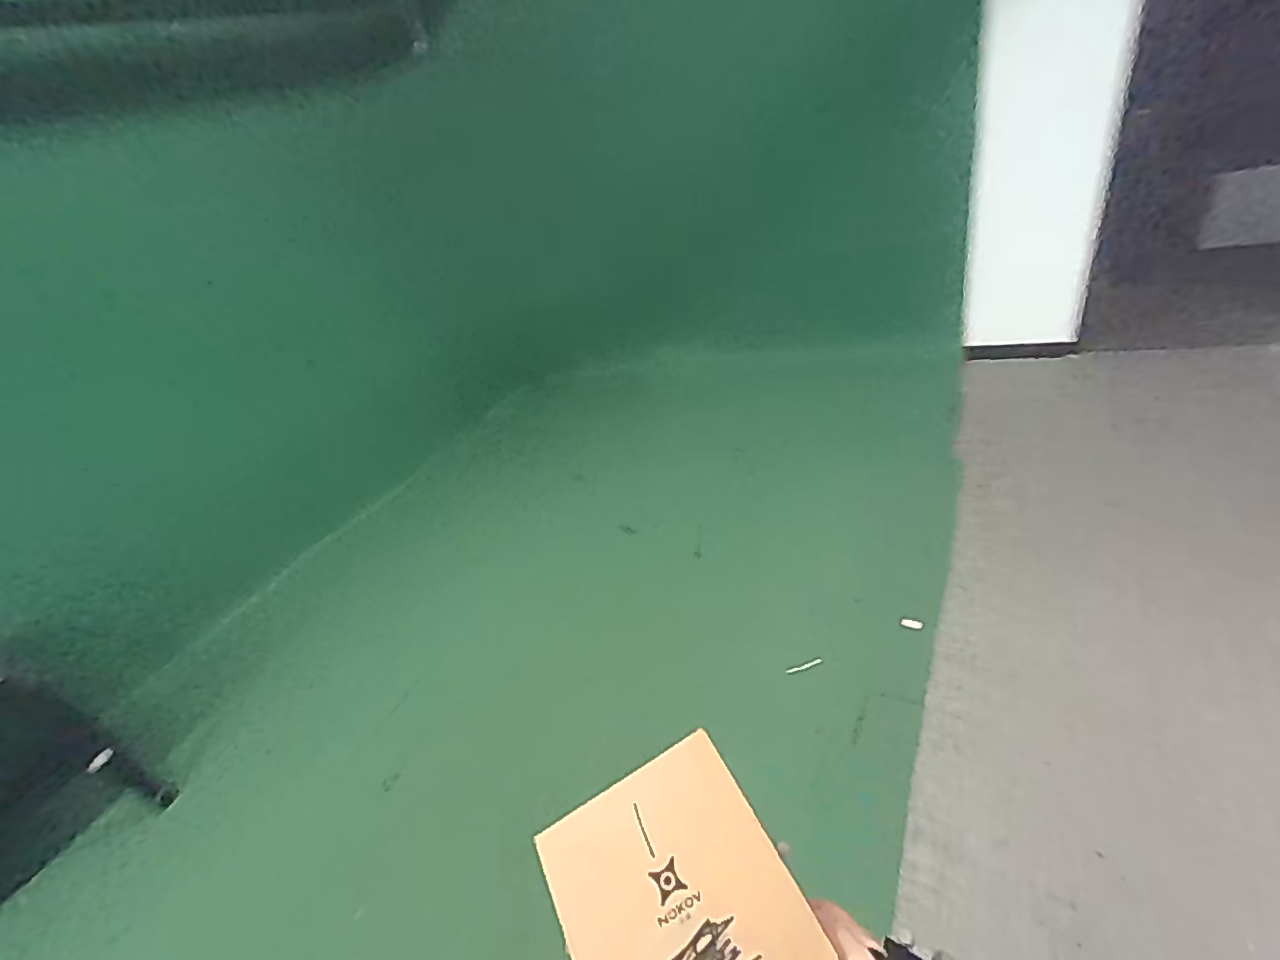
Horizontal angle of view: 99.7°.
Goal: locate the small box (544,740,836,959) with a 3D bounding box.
[{"bbox_3d":[0.047,0.358,0.449,0.168,0.176,0.179,-27,48,-8],"label":"small box"}]
